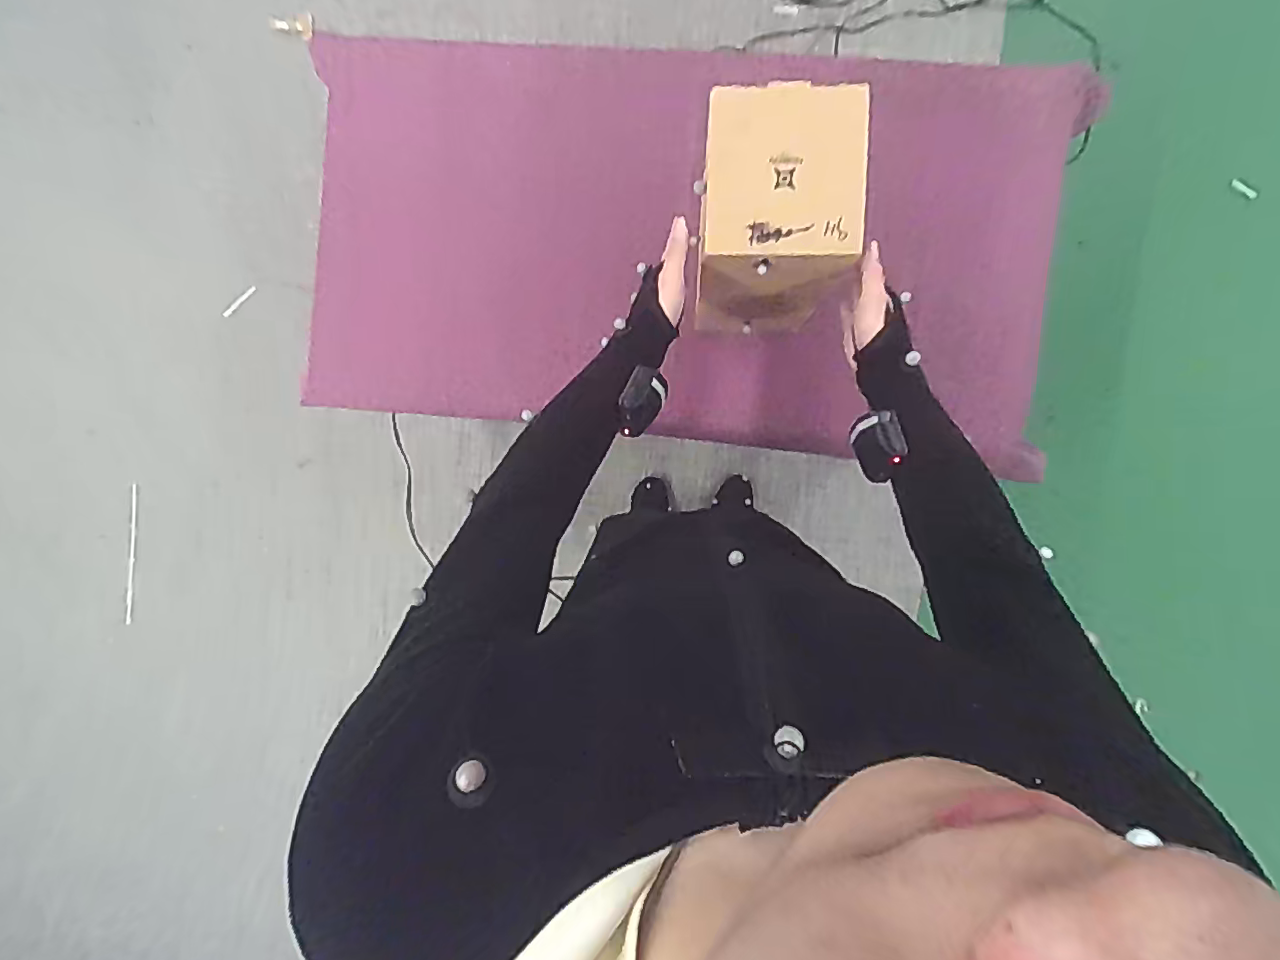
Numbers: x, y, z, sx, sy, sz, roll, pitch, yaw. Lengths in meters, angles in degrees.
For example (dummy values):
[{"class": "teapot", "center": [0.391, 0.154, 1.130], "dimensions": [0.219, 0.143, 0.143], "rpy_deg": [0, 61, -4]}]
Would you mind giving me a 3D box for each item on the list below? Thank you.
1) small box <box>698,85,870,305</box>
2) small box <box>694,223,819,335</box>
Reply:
[{"class": "small box", "center": [0.156, -0.321, 0.638], "dimensions": [0.168, 0.176, 0.179], "rpy_deg": [2, 92, 4]}, {"class": "small box", "center": [0.168, -0.326, 0.802], "dimensions": [0.168, 0.176, 0.179], "rpy_deg": [3, 92, 5]}]
